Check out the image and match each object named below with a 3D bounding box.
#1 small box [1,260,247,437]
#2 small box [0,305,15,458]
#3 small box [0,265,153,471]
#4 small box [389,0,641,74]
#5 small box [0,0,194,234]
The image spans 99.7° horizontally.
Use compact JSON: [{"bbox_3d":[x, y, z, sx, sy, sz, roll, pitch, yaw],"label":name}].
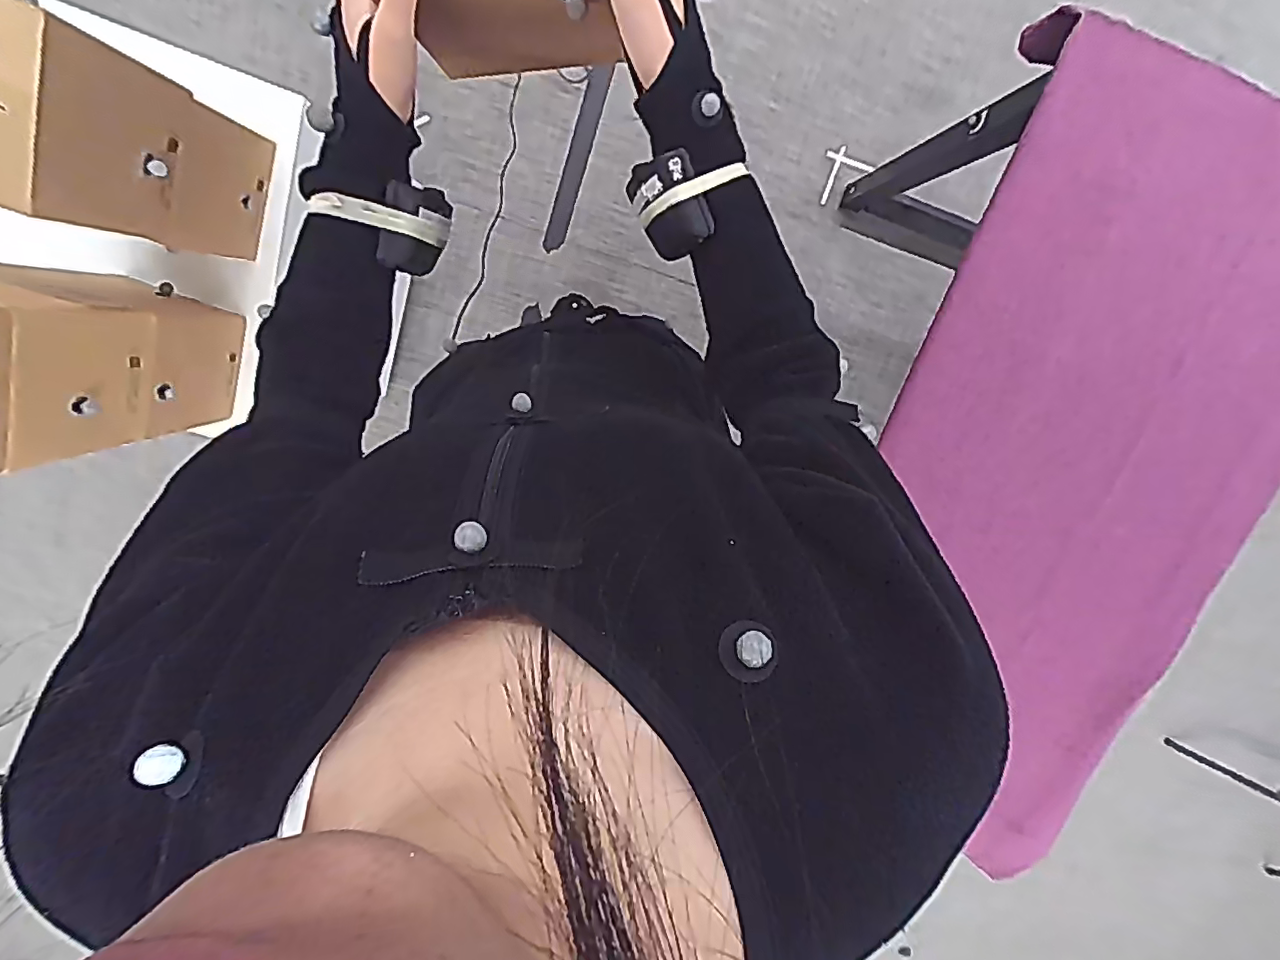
[{"bbox_3d":[-0.683,-0.174,0.727,0.179,0.176,0.168,19,105,-7],"label":"small box"},{"bbox_3d":[-0.665,-0.086,0.415,0.179,0.176,0.168,16,105,-8],"label":"small box"},{"bbox_3d":[-0.673,-0.129,0.572,0.179,0.176,0.168,17,104,-8],"label":"small box"},{"bbox_3d":[-0.089,-0.418,0.379,0.179,0.176,0.168,-5,107,1],"label":"small box"},{"bbox_3d":[-0.583,-0.352,0.510,0.179,0.176,0.168,19,105,-10],"label":"small box"}]
